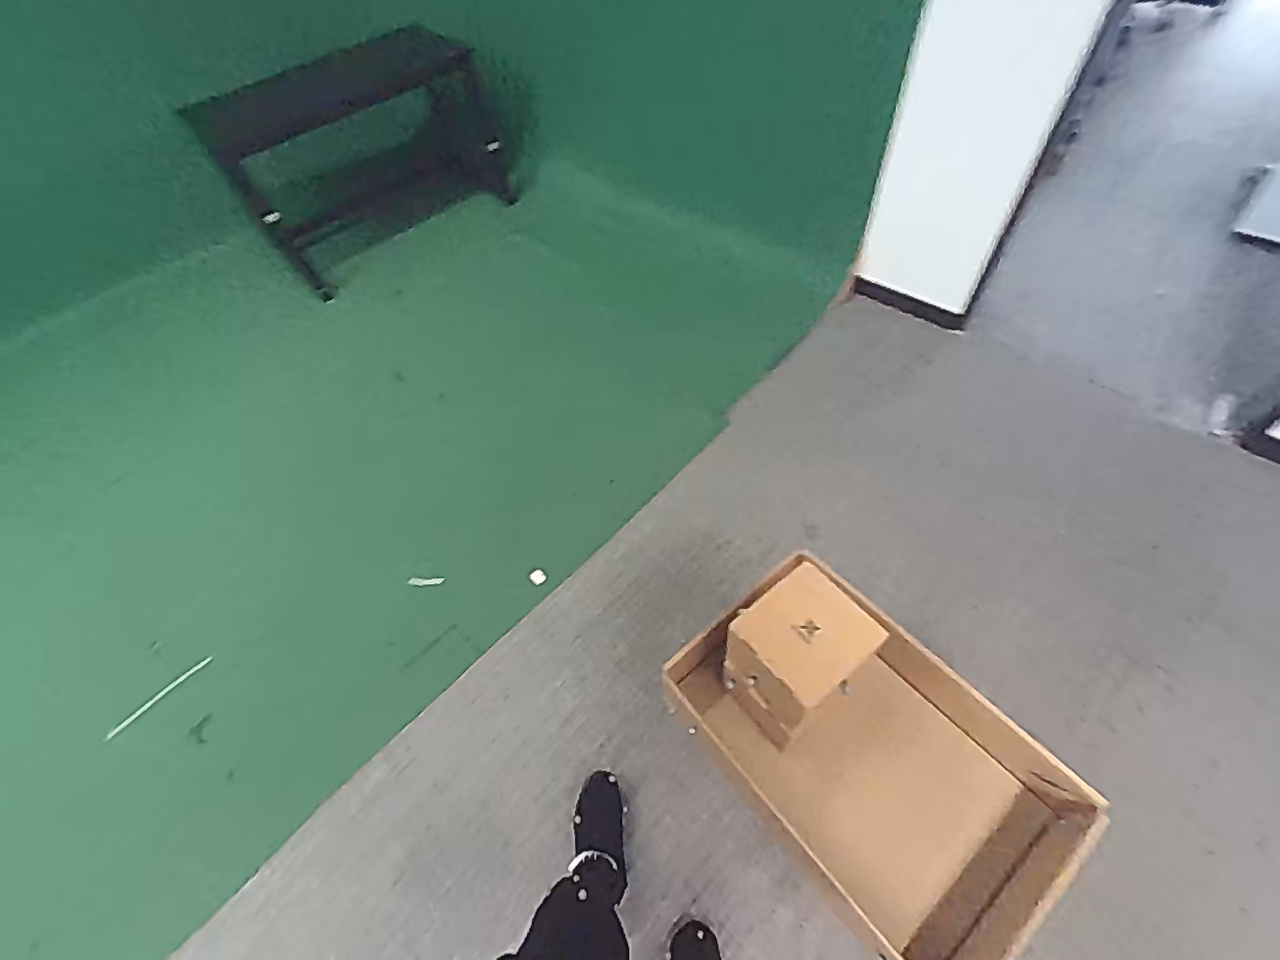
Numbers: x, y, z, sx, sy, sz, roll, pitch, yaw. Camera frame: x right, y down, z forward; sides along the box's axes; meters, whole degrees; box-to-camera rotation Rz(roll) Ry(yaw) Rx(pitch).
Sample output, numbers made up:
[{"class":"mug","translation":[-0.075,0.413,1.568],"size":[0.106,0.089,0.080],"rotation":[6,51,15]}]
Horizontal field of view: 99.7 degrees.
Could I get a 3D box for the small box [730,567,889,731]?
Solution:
[{"class":"small box","translation":[0.264,0.281,0.890],"size":[0.179,0.176,0.168],"rotation":[-34,60,-16]}]
